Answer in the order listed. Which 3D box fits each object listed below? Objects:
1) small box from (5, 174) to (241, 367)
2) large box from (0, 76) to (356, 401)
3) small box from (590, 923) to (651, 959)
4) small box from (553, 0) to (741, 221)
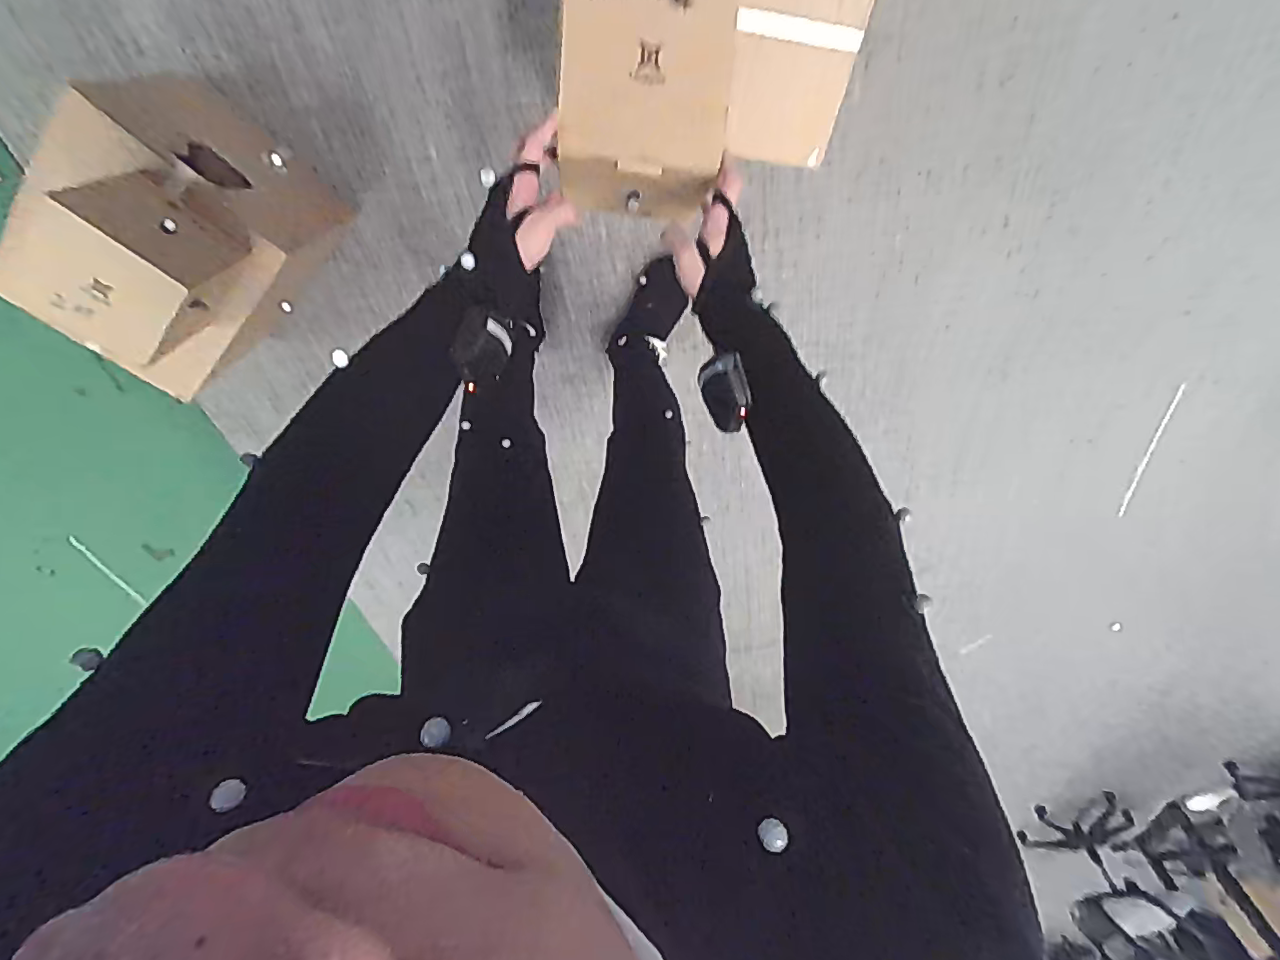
[{"bbox_3d":[-0.726,-0.306,0.782,0.179,0.176,0.168,-37,121,23],"label":"small box"},{"bbox_3d":[-0.810,-0.435,0.990,0.408,0.320,0.320,-36,120,24],"label":"large box"},{"bbox_3d":[-0.058,1.487,1.663,0.168,0.176,0.179,-9,129,5],"label":"small box"},{"bbox_3d":[0.000,-0.401,0.589,0.168,0.176,0.179,5,100,-6],"label":"small box"}]
